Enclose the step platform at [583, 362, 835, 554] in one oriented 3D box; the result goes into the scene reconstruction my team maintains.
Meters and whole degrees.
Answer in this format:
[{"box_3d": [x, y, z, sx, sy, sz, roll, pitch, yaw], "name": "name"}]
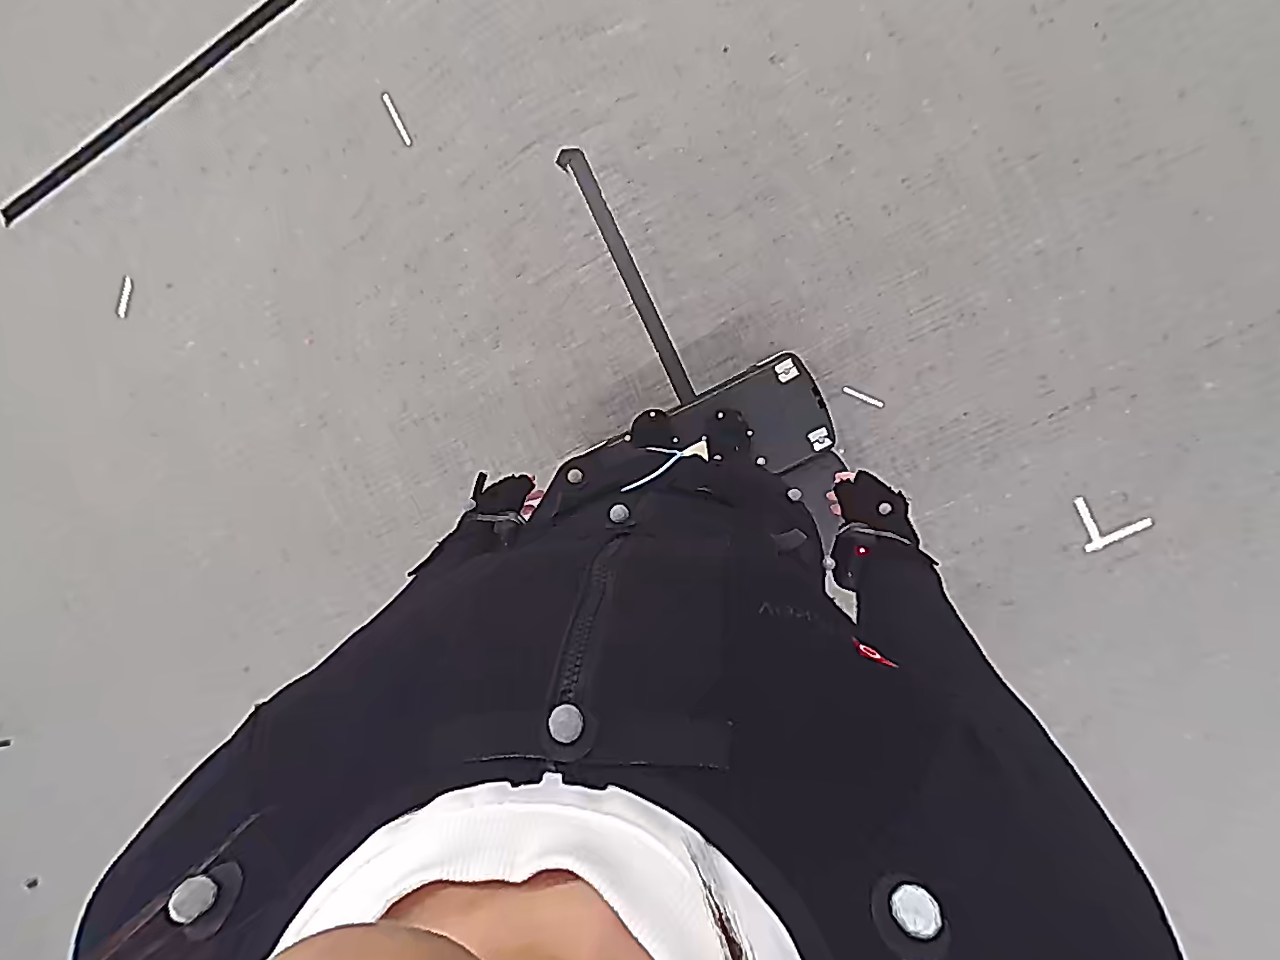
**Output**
[{"box_3d": [0.181, -0.058, 1.518, 0.684, 0.204, 0.286, -27, 95, 9], "name": "step platform"}]
